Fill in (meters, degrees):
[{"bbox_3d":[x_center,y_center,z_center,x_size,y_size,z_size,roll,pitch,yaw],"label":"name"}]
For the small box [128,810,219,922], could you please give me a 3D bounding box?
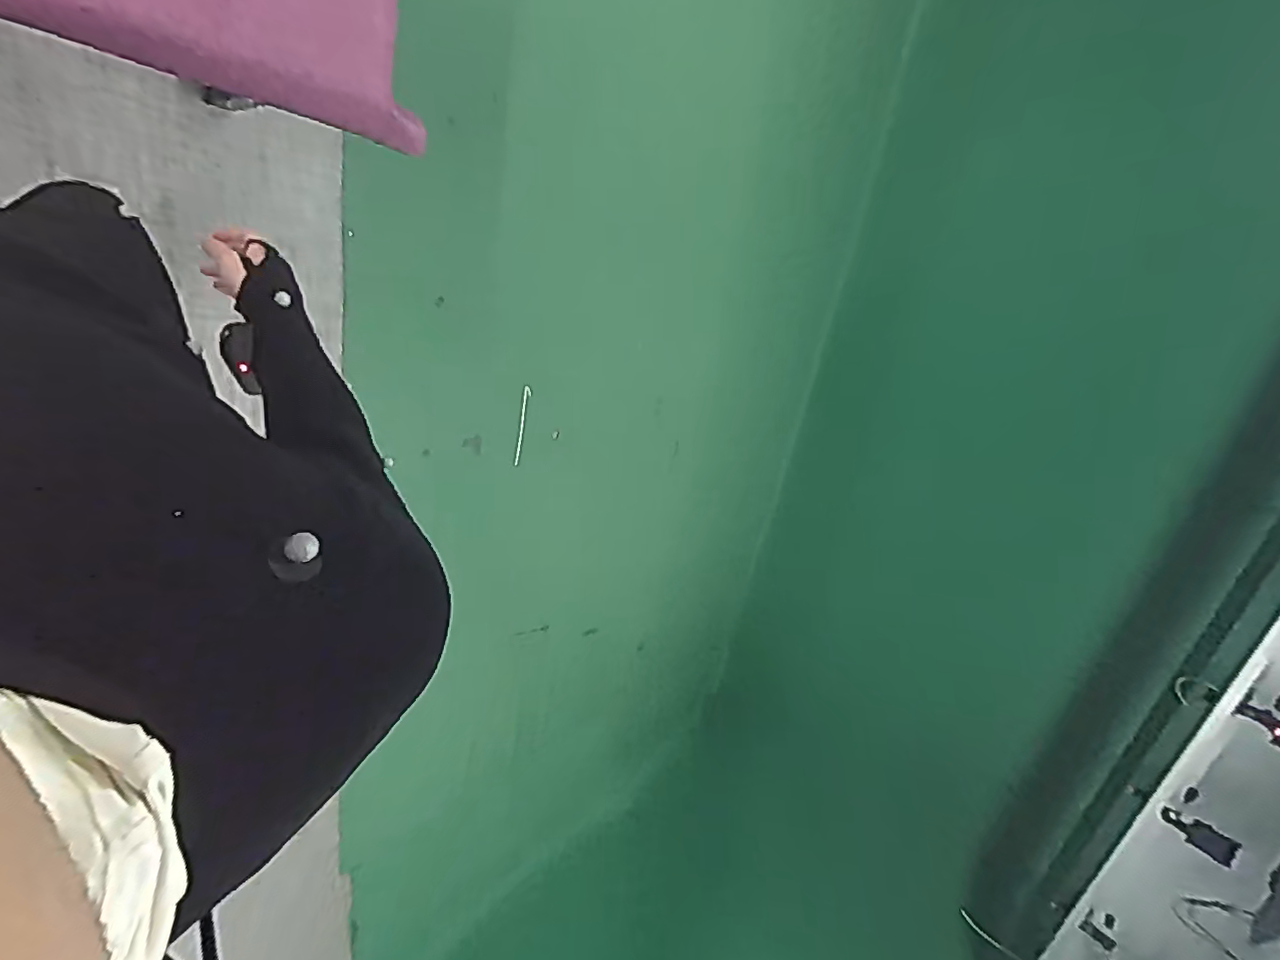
[{"bbox_3d":[-1.388,1.137,1.610,0.179,0.176,0.168,-8,117,-50],"label":"small box"}]
